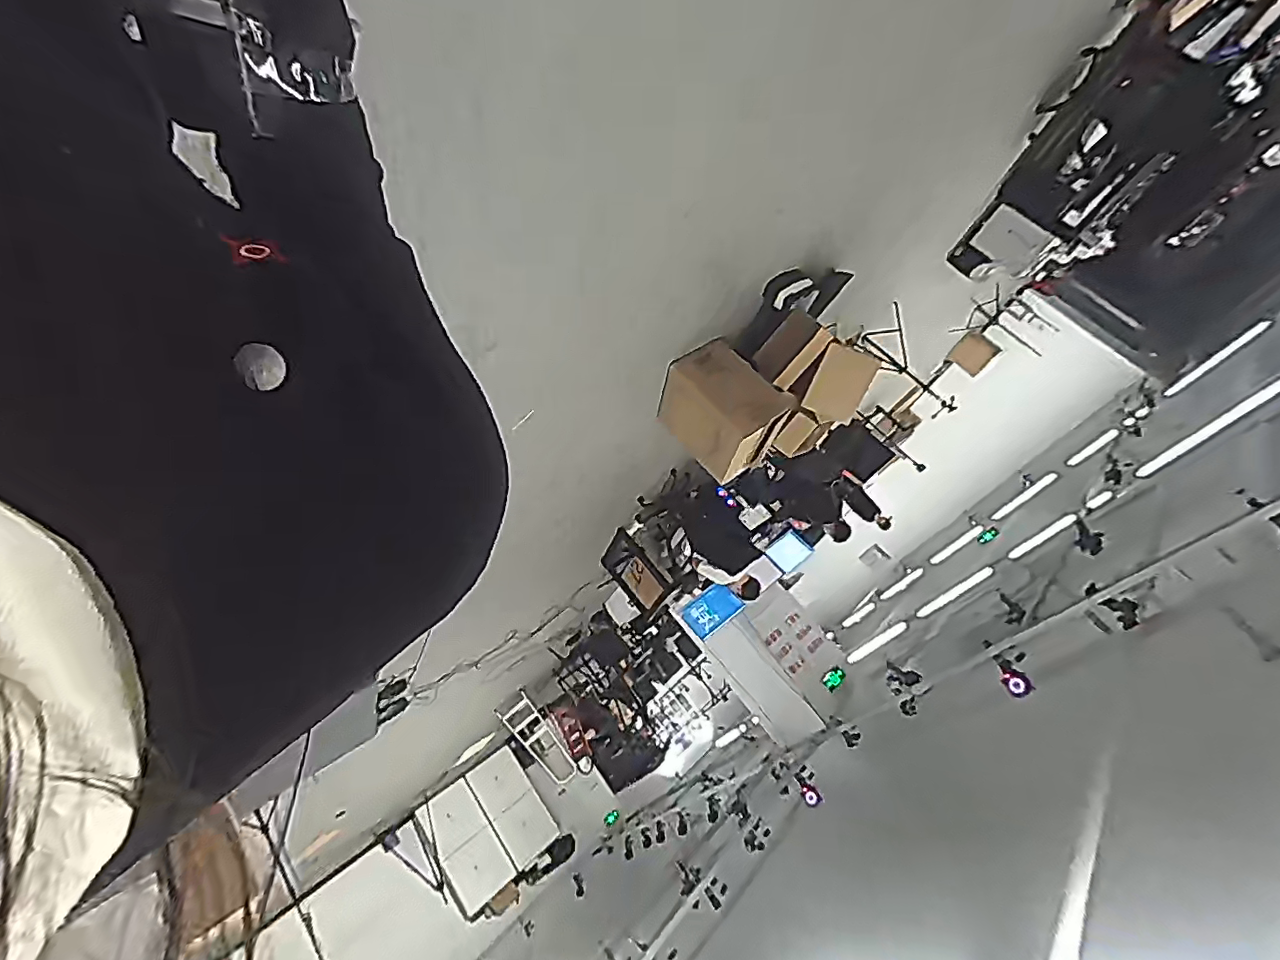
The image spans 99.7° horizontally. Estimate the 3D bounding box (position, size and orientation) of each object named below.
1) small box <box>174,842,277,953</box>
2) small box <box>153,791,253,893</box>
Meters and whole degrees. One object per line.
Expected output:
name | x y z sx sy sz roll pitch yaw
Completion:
small box | -1.140 1.146 1.486 0.179 0.176 0.168 -27 156 -37
small box | -1.242 1.030 1.537 0.179 0.176 0.168 -27 158 -39
